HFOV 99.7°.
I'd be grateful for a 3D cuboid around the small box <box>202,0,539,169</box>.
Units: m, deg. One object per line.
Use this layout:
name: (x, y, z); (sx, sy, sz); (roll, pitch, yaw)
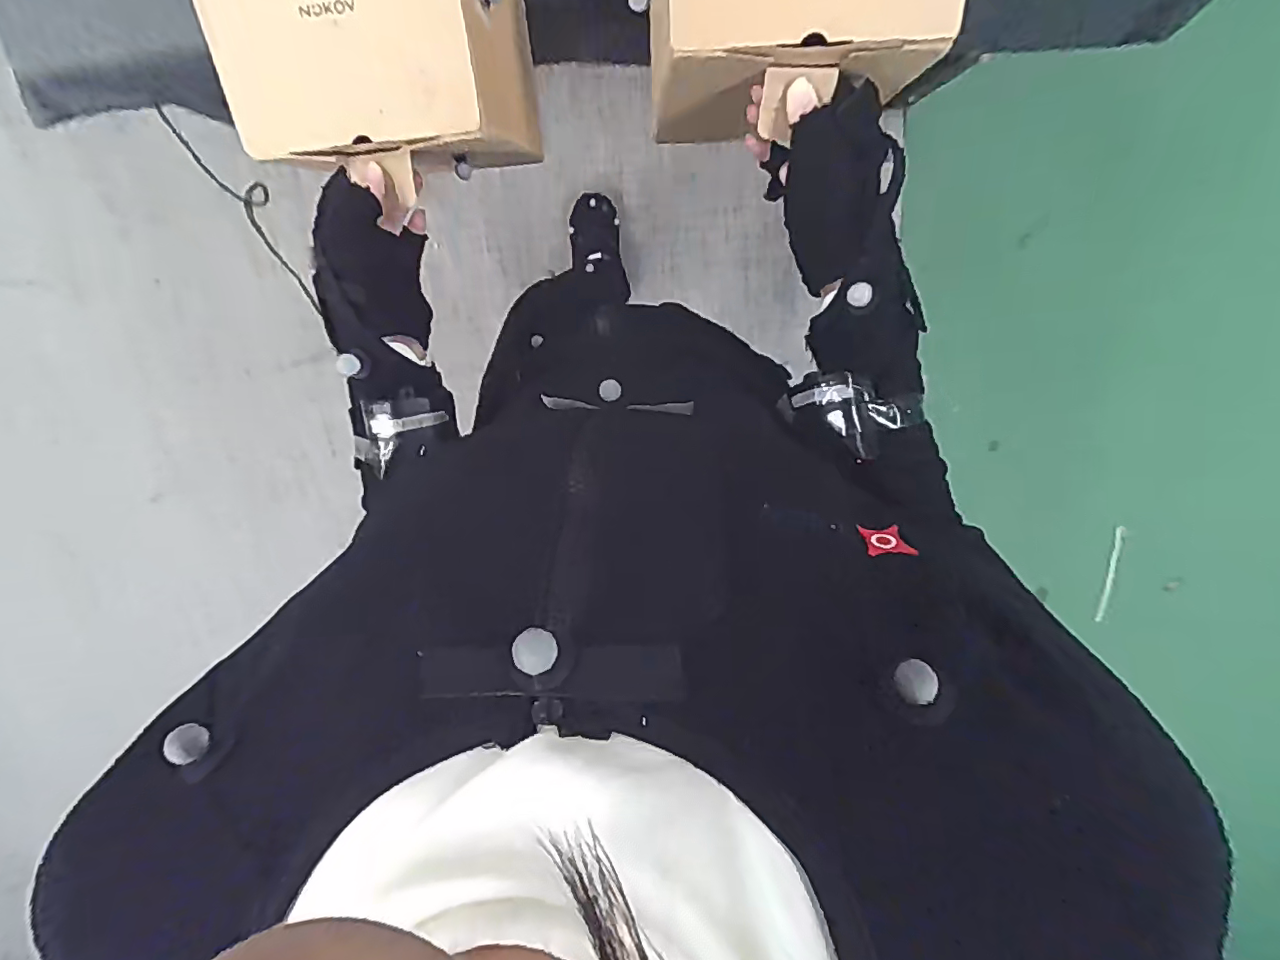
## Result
small box: (-0.182, -0.337, 0.395); (0.168, 0.176, 0.179); (-3, 114, 7)
